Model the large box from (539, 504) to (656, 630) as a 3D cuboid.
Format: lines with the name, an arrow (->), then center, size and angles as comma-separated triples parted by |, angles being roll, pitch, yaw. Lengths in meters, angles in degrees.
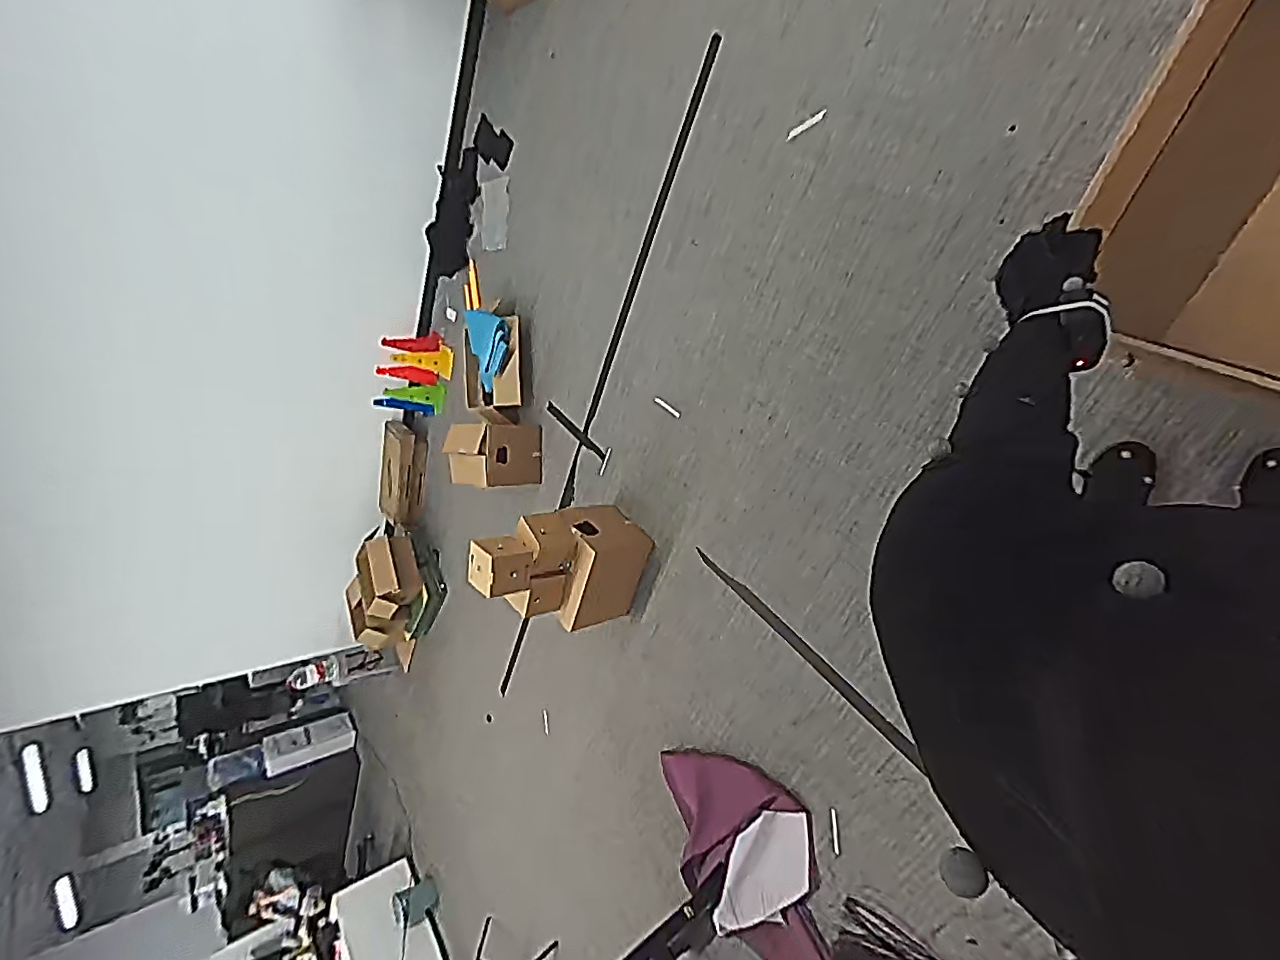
large box -> -0.184, 0.355, 2.287 | 0.320, 0.320, 0.408 | 37, 118, 39

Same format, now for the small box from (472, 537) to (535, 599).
small box -> -0.513, 0.323, 2.040 | 0.179, 0.176, 0.168 | 21, 109, 44
